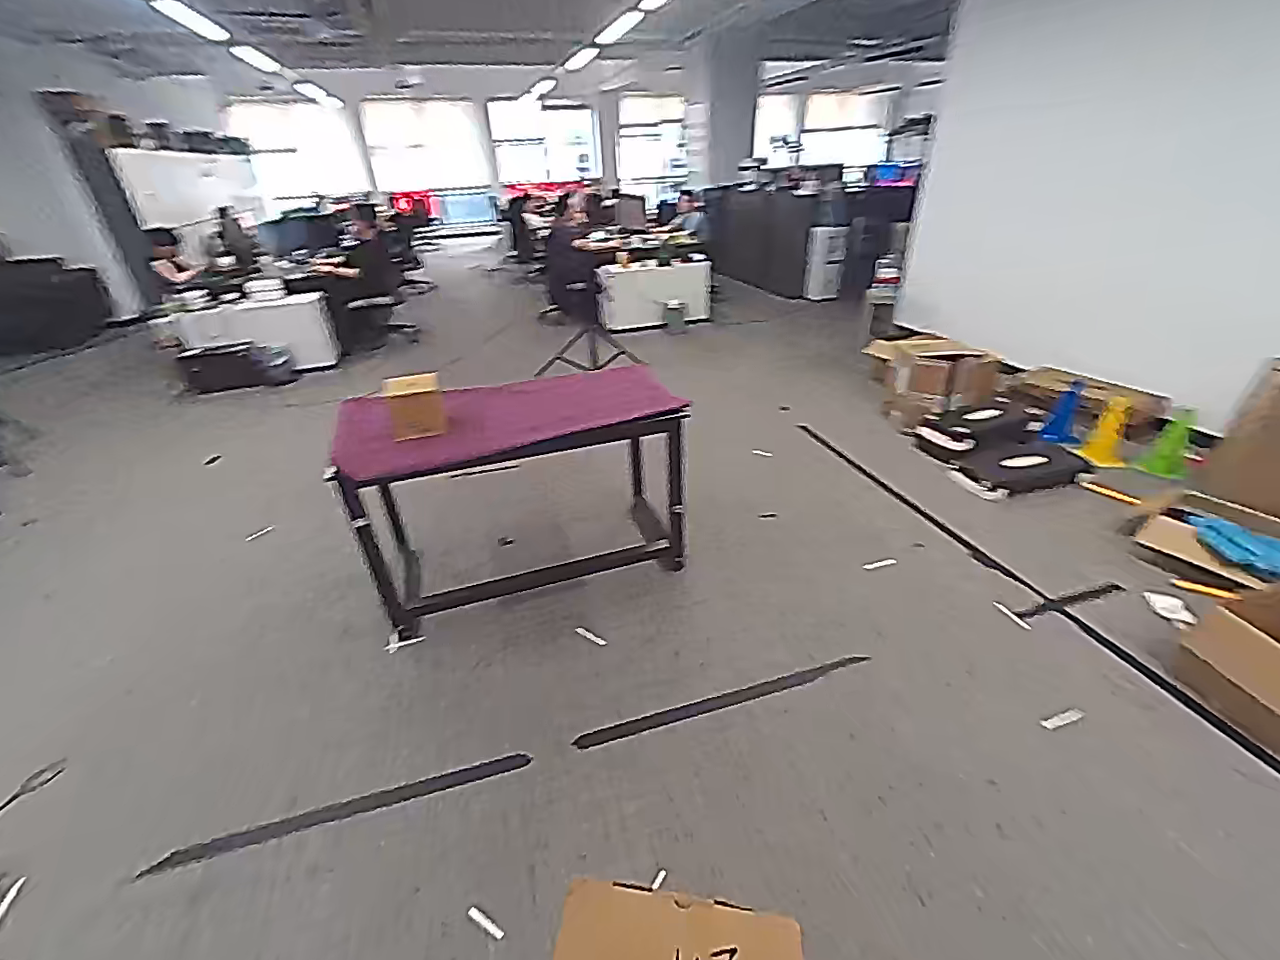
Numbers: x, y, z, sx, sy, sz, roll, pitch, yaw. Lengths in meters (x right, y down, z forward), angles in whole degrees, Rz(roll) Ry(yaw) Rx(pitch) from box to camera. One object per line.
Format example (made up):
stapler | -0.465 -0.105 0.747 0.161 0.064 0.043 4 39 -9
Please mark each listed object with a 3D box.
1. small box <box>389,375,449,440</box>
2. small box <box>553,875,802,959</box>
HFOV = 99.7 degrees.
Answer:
small box | -0.781 -0.259 1.918 0.168 0.176 0.179 -12 33 -16
small box | 0.014 0.408 0.358 0.168 0.176 0.179 8 34 3
